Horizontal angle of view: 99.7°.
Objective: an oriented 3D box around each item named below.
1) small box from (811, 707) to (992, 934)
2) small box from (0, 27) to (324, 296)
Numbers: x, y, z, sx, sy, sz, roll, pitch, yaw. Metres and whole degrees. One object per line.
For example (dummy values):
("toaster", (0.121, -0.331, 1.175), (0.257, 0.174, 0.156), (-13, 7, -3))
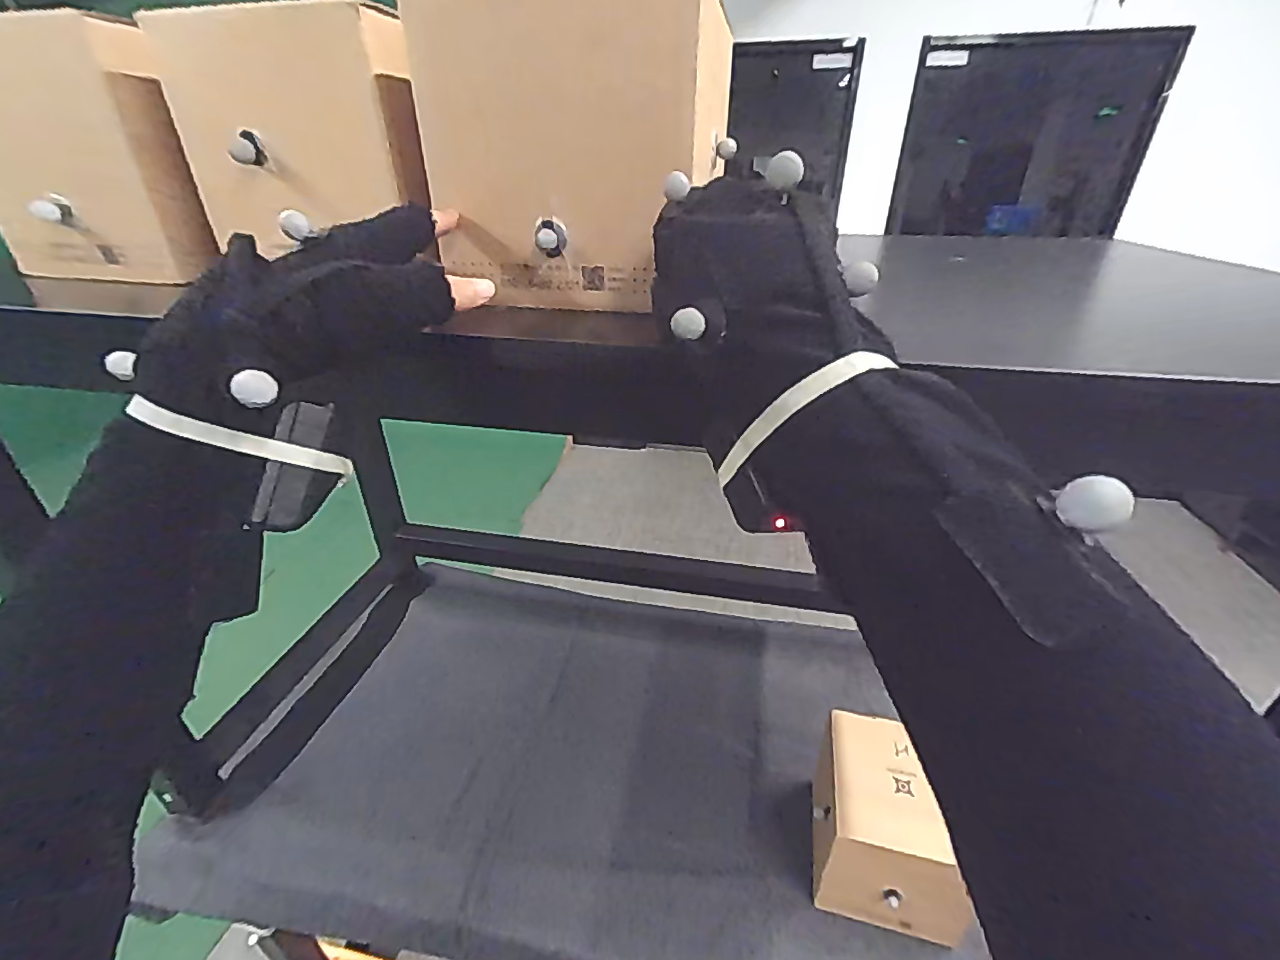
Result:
("small box", (0.322, 0.437, 0.703), (0.168, 0.176, 0.179), (8, 30, 13))
("small box", (-0.411, -0.268, 0.471), (0.168, 0.176, 0.179), (7, 31, 11))
